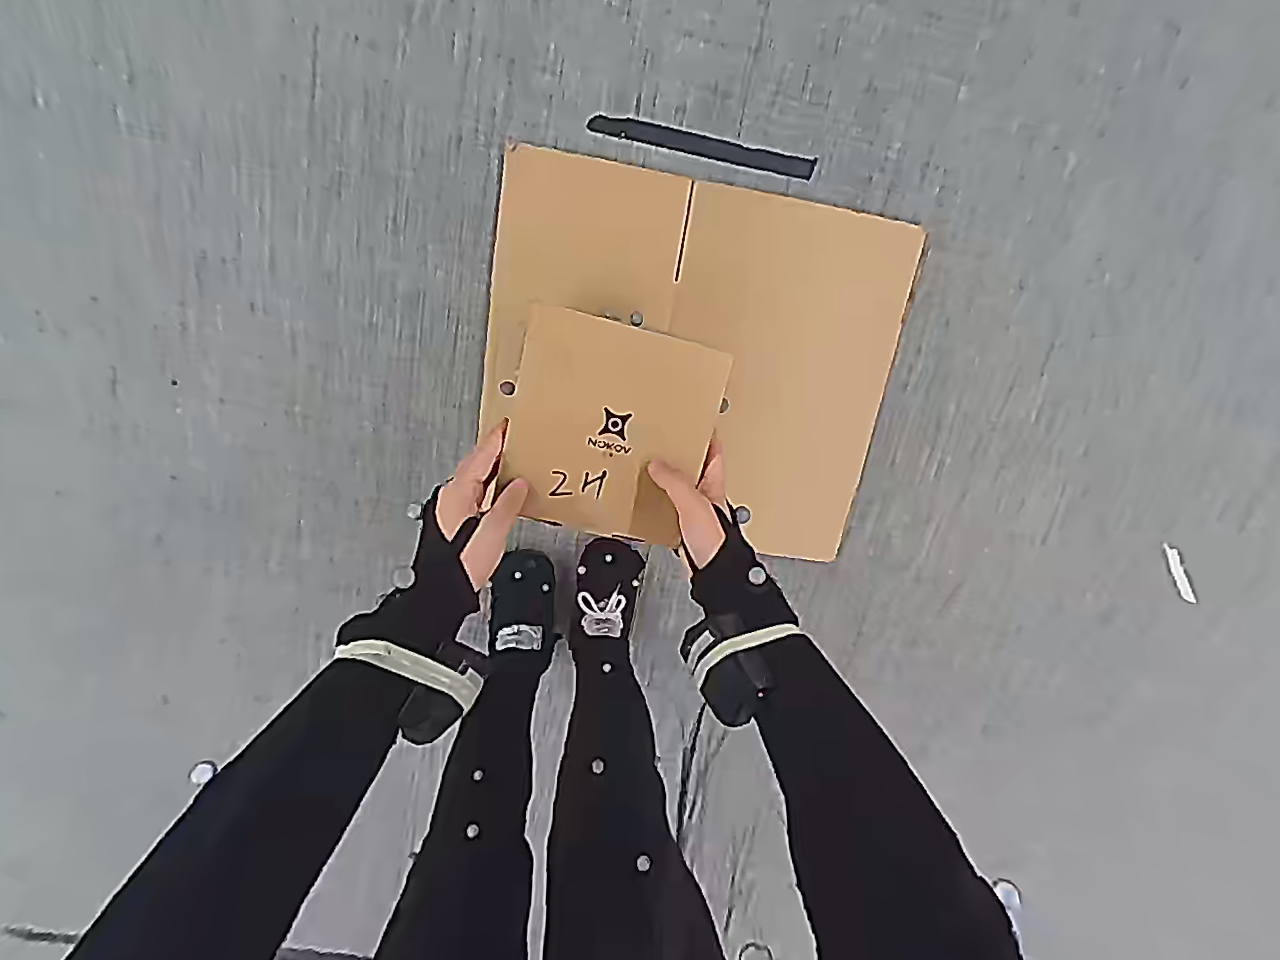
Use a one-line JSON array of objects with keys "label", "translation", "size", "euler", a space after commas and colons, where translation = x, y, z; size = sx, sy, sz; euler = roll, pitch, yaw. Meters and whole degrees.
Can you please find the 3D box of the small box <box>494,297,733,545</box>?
[{"label": "small box", "translation": [-0.032, -0.061, 0.520], "size": [0.168, 0.176, 0.179], "euler": [13, 103, -10]}]
